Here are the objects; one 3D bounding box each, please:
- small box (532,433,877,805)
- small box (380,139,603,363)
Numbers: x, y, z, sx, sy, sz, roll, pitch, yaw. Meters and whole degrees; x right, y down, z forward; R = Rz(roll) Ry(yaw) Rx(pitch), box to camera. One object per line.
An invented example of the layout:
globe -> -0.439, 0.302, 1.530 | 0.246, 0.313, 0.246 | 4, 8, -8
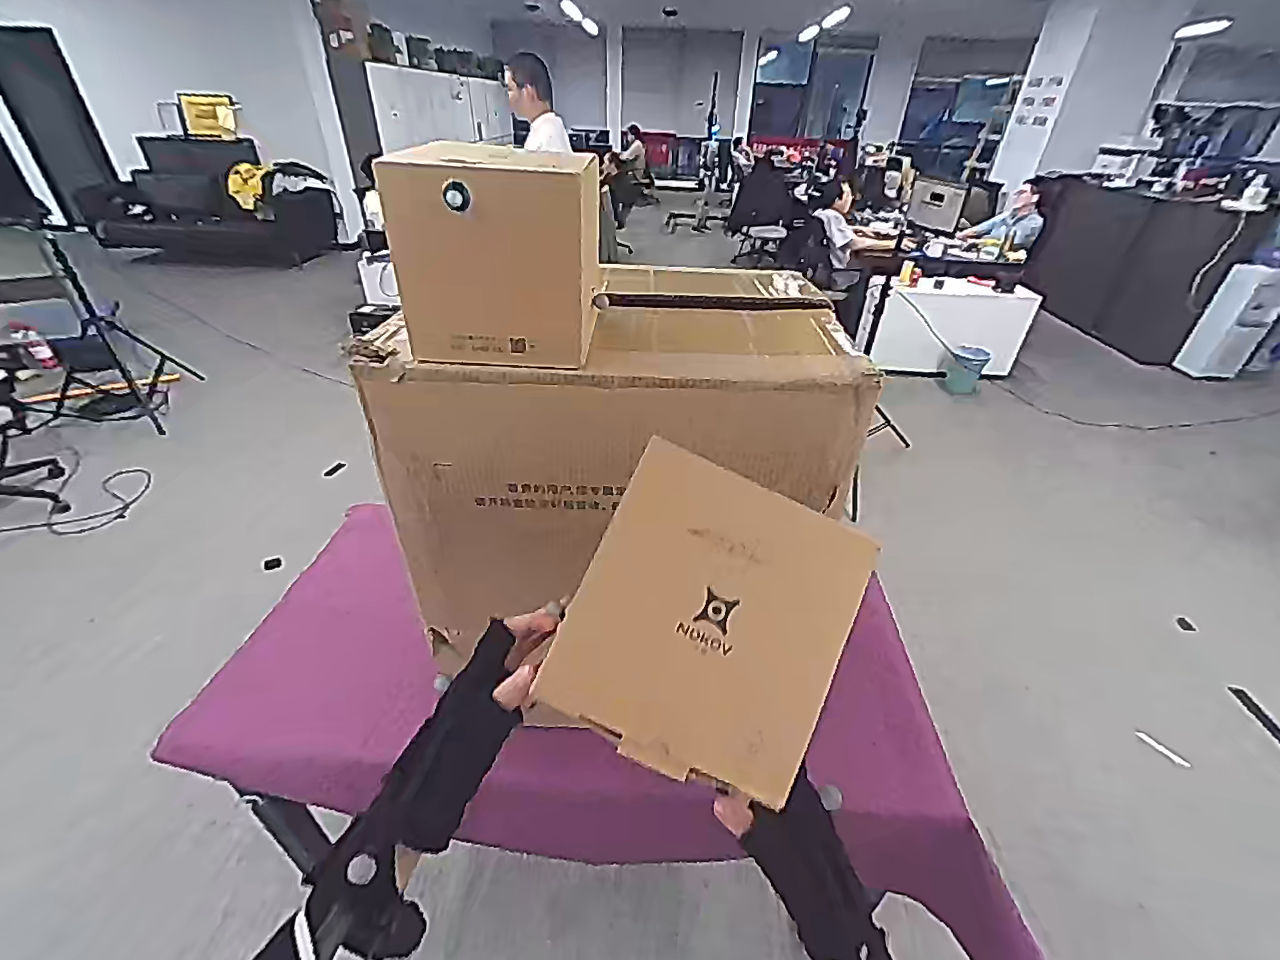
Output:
small box -> 0.038, 0.093, 0.407 | 0.168, 0.176, 0.179 | 25, 78, -1
small box -> -0.126, -0.230, 0.535 | 0.168, 0.176, 0.179 | 3, 34, -1
